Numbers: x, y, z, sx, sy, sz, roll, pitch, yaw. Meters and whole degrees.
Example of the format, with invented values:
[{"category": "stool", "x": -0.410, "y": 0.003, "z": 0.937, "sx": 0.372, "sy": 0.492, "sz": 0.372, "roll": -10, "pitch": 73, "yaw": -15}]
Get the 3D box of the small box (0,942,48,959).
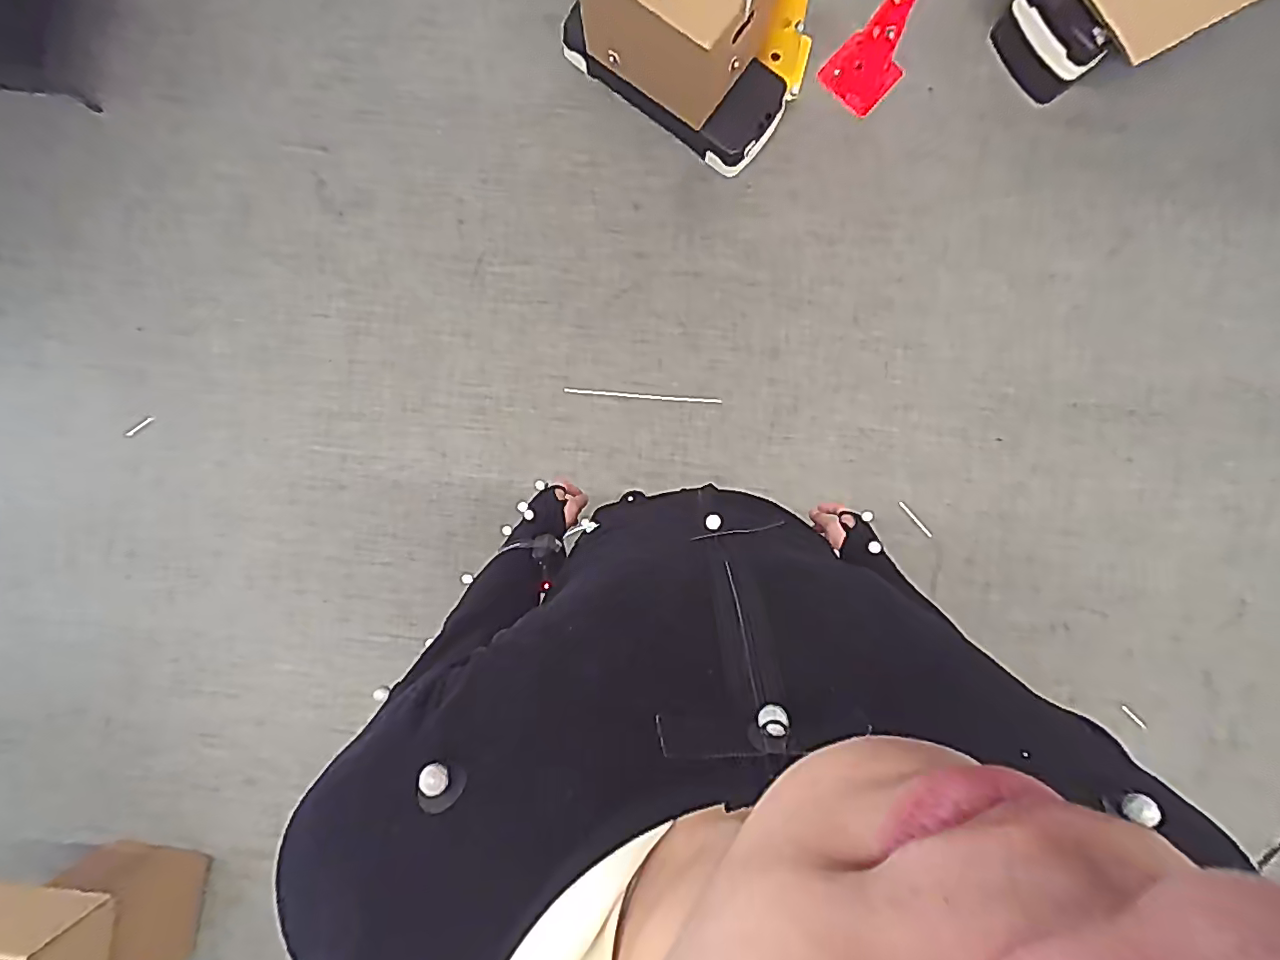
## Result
[{"category": "small box", "x": -1.451, "y": 1.138, "z": 1.155, "sx": 0.179, "sy": 0.176, "sz": 0.168, "roll": 7, "pitch": 88, "yaw": 0}]
